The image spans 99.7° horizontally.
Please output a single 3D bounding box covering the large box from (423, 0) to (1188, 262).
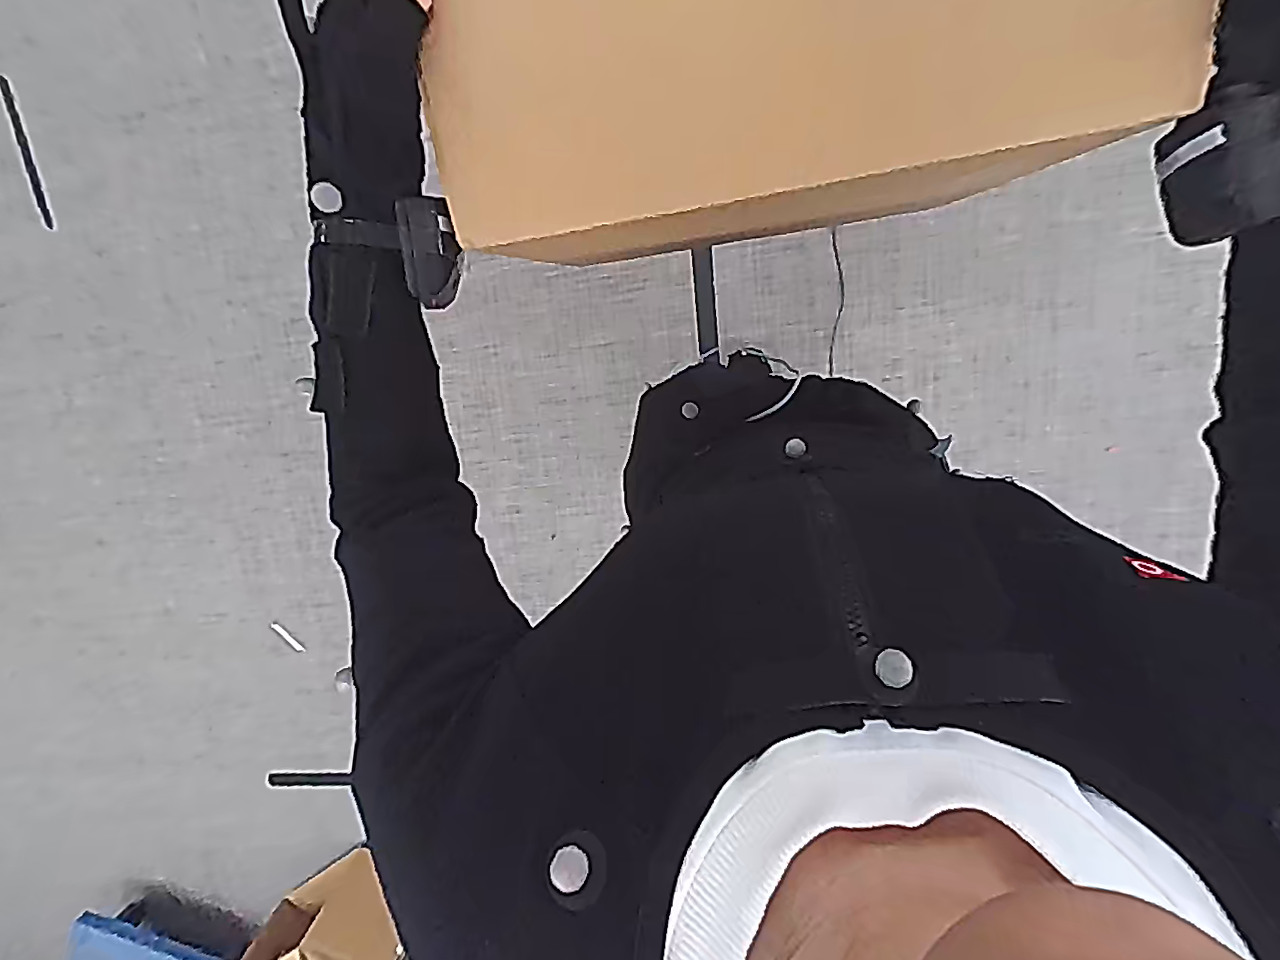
[{"bbox_3d":[0.080,-0.372,0.411,0.408,0.320,0.320,-7,109,9],"label":"large box"}]
